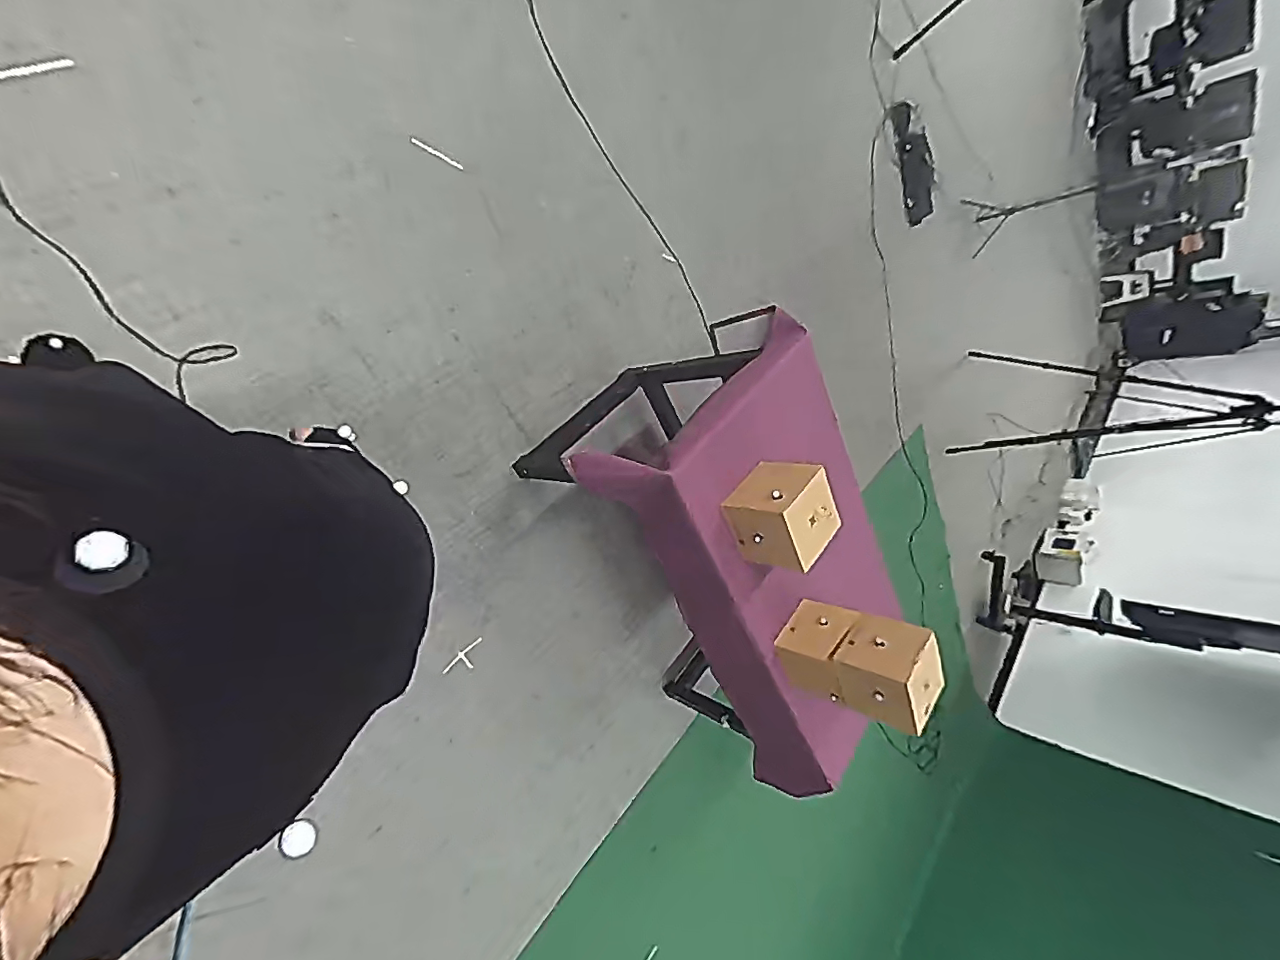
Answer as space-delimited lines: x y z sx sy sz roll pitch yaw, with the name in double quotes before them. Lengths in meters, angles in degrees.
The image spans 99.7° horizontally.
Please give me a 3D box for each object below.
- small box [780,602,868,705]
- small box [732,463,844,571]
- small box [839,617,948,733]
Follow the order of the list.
"small box" 0.485 0.433 1.389 0.168 0.176 0.179 -44 120 -30
"small box" 0.326 0.075 1.217 0.179 0.176 0.168 -42 120 -30
"small box" 0.587 0.442 1.260 0.168 0.176 0.179 -39 117 -32
